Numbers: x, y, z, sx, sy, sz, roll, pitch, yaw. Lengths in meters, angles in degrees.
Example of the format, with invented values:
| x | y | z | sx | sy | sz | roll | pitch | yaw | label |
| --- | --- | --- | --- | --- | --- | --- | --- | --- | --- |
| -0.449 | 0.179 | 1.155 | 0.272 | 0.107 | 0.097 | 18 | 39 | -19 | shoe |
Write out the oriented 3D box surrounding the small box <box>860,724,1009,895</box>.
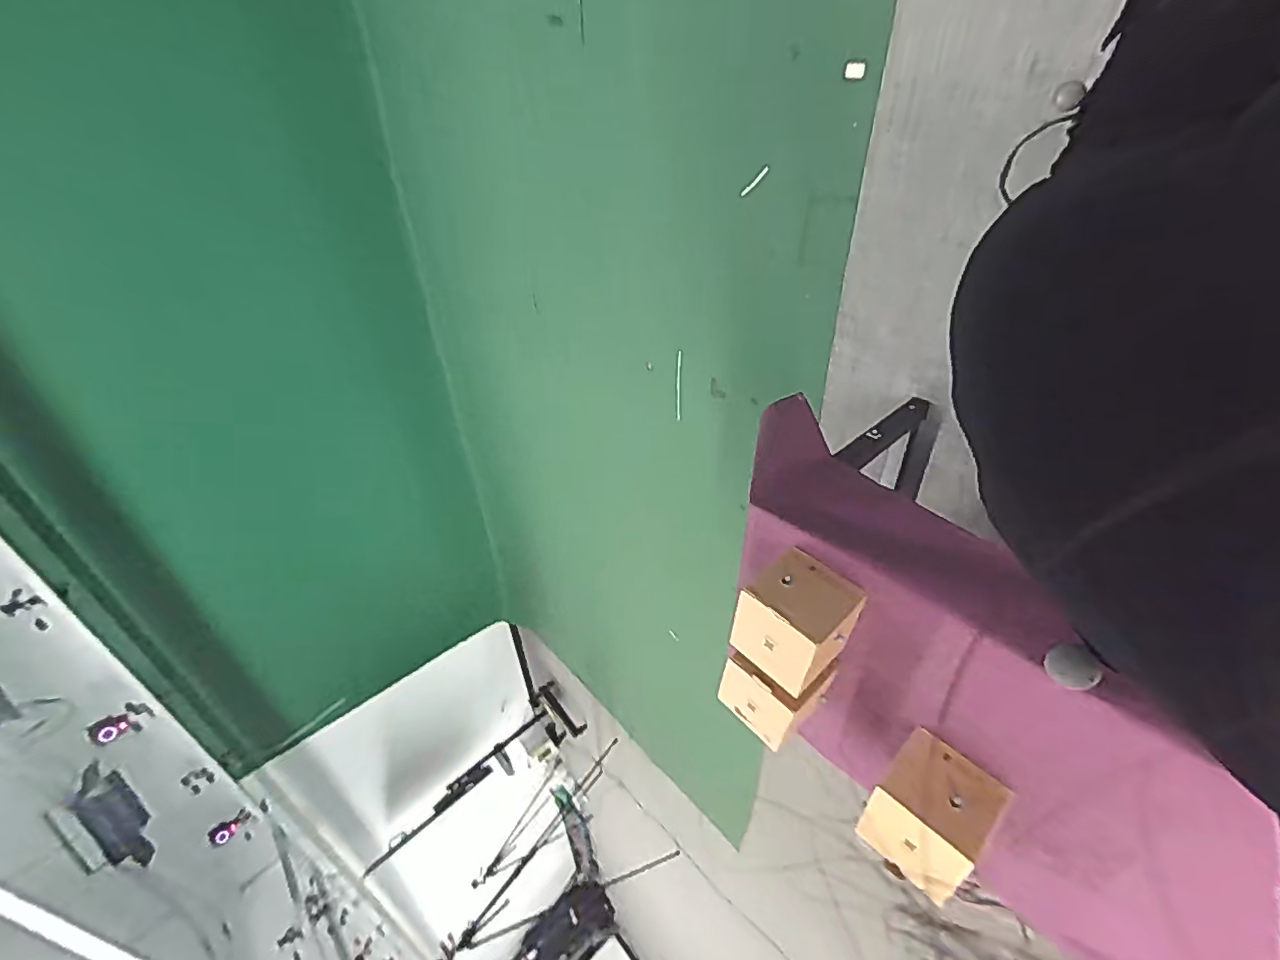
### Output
| x | y | z | sx | sy | sz | roll | pitch | yaw | label |
| --- | --- | --- | --- | --- | --- | --- | --- | --- | --- |
| 0.533 | 0.586 | 0.982 | 0.168 | 0.176 | 0.179 | 32 | 138 | 37 | small box |

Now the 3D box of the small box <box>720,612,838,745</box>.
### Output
| x | y | z | sx | sy | sz | roll | pitch | yaw | label |
| --- | --- | --- | --- | --- | --- | --- | --- | --- | --- |
| 0.302 | 0.422 | 1.170 | 0.168 | 0.176 | 0.179 | 38 | 140 | 32 | small box |
